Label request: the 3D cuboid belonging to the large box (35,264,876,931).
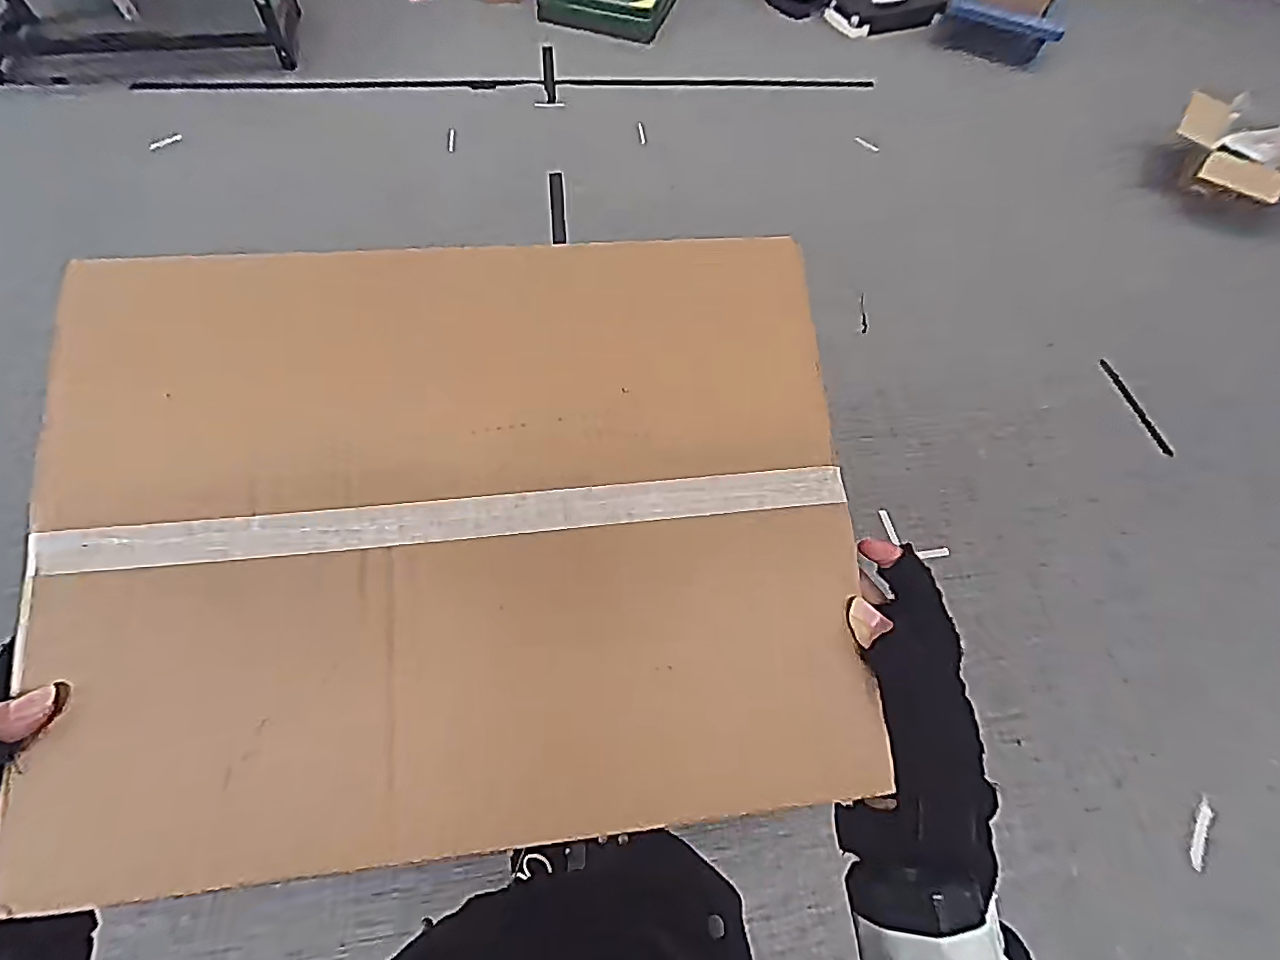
[{"bbox_3d":[-0.099,0.062,0.432,0.408,0.320,0.320,-5,78,-6],"label":"large box"}]
